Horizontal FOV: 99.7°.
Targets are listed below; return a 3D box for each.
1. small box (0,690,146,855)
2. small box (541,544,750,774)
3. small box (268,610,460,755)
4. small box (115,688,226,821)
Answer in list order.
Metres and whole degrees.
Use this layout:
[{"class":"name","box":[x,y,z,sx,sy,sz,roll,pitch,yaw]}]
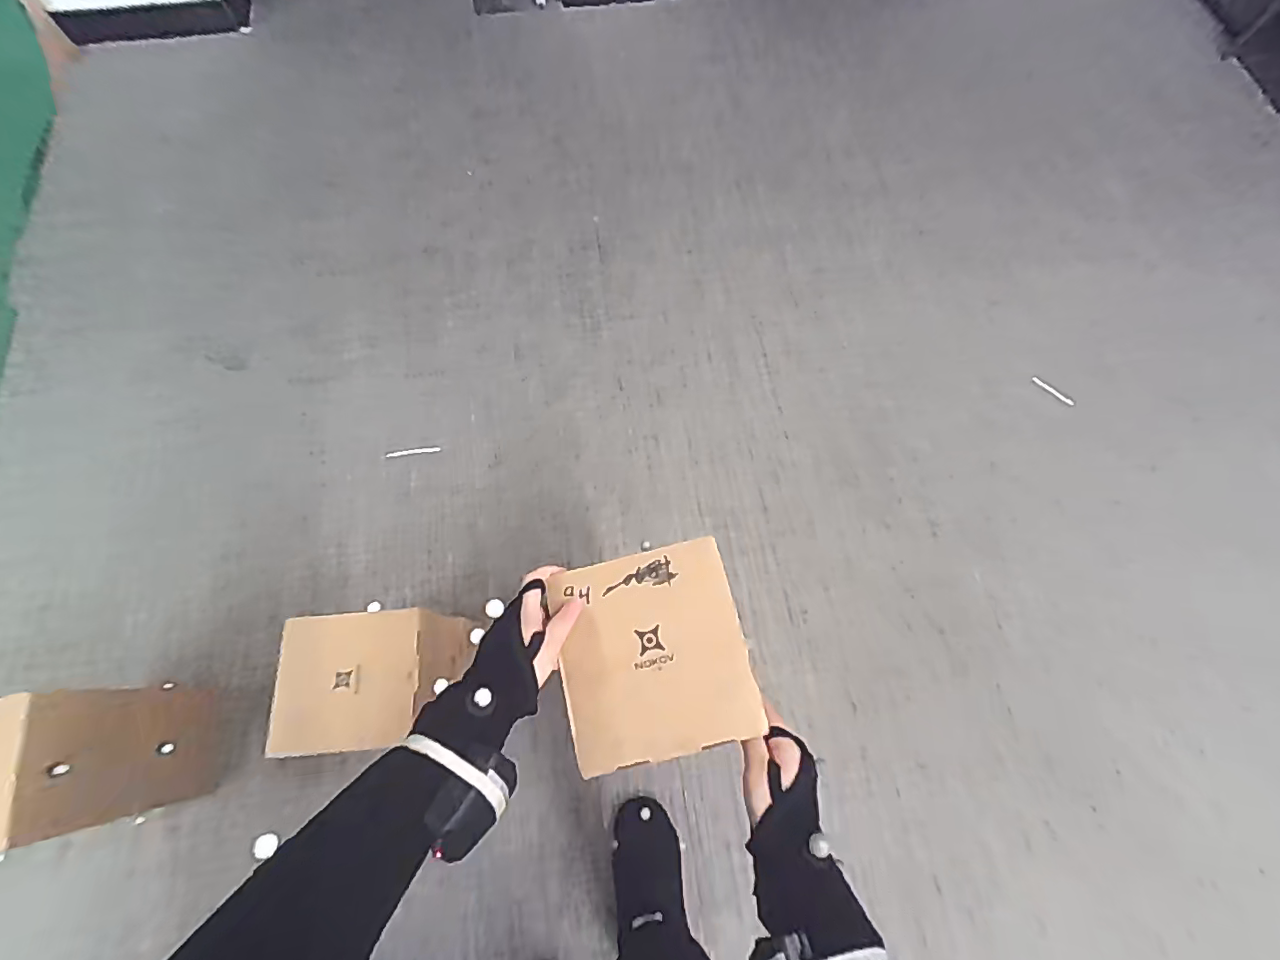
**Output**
[{"class":"small box","box":[-0.809,0.384,0.713,0.168,0.176,0.179,-10,70,-6]},{"class":"small box","box":[0.009,0.180,0.570,0.168,0.176,0.179,-14,73,1]},{"class":"small box","box":[-0.369,0.282,0.757,0.179,0.176,0.168,-4,69,-2]},{"class":"small box","box":[-0.810,0.439,0.868,0.168,0.176,0.179,-8,69,-5]}]
